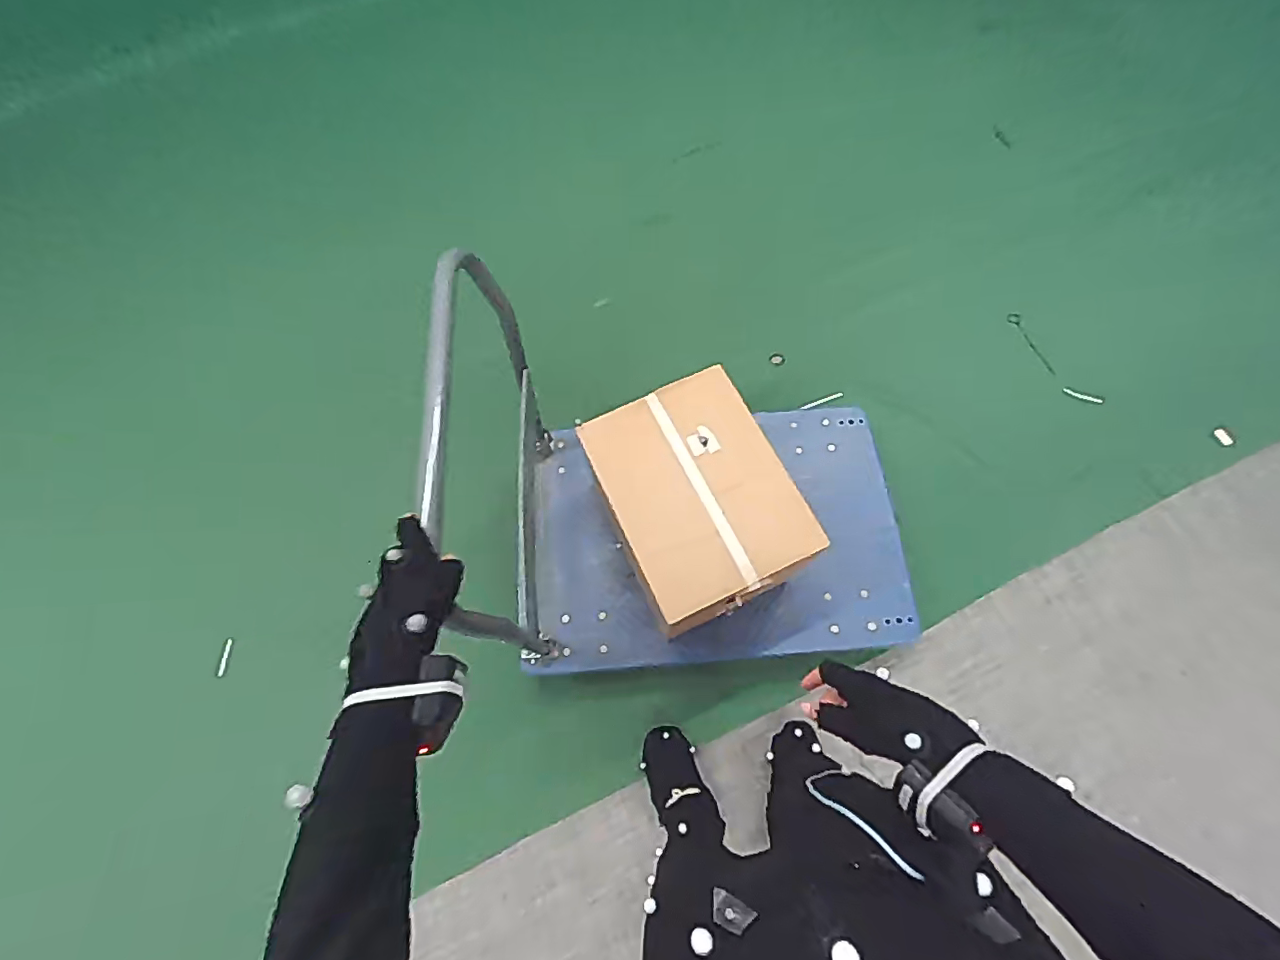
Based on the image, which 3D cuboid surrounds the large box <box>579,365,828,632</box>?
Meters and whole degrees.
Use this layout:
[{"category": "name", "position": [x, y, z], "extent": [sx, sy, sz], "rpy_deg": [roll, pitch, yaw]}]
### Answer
[{"category": "large box", "position": [0.113, 0.052, 1.114], "extent": [0.320, 0.320, 0.408], "rpy_deg": [-24, 70, -7]}]
